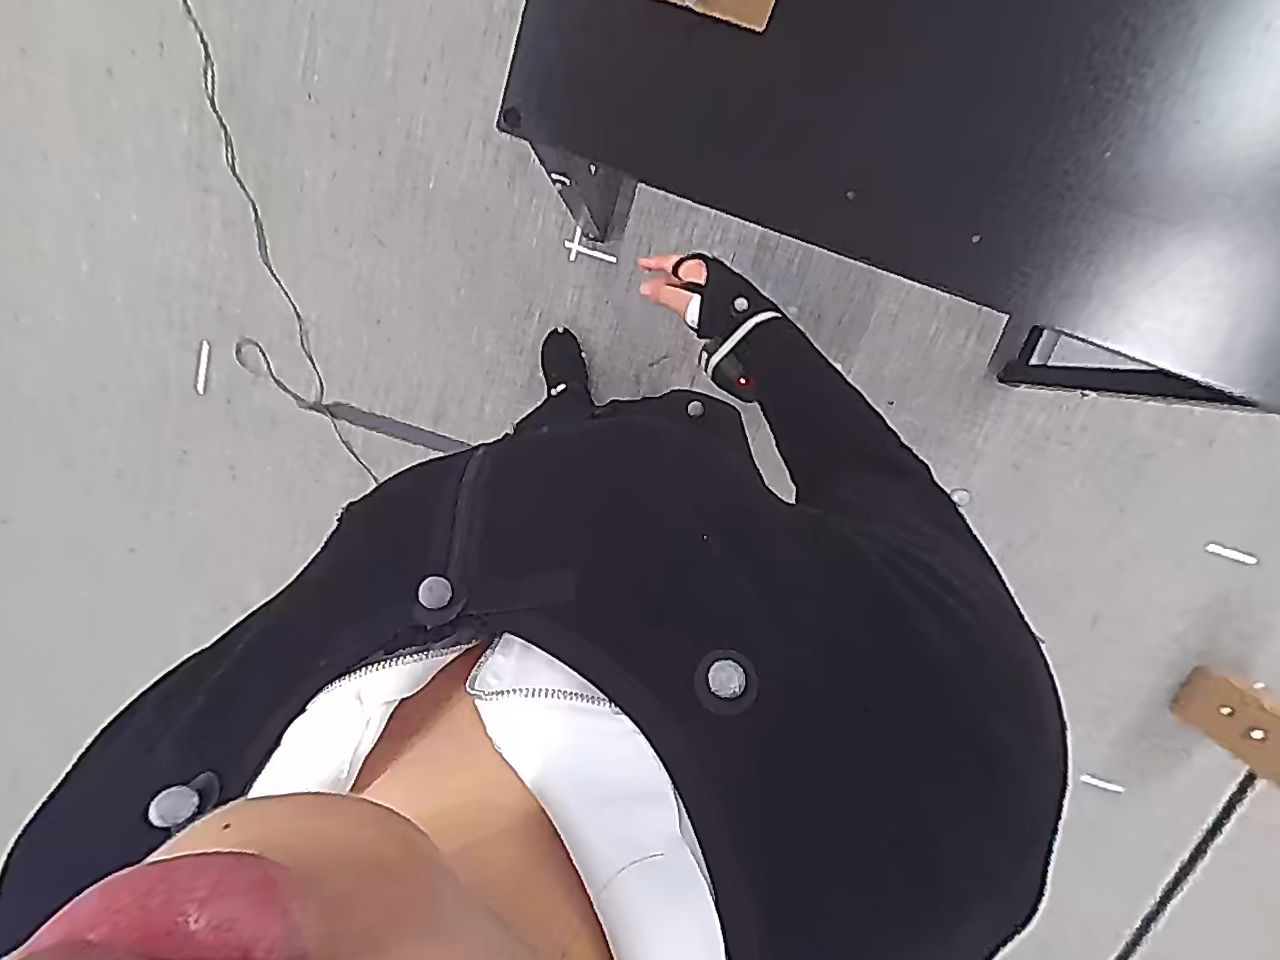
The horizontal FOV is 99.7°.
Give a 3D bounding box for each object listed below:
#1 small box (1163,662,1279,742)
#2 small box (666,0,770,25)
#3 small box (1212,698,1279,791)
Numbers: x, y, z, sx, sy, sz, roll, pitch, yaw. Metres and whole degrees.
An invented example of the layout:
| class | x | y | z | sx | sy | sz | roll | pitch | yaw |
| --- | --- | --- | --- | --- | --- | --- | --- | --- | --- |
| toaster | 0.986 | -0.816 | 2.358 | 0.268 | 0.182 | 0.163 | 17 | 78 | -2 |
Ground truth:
| class | x | y | z | sx | sy | sz | roll | pitch | yaw |
| --- | --- | --- | --- | --- | --- | --- | --- | --- | --- |
| small box | 1.690 | 0.659 | 1.562 | 0.168 | 0.176 | 0.179 | 18 | 104 | -3 |
| small box | 0.079 | -0.594 | 0.522 | 0.179 | 0.176 | 0.168 | 15 | 103 | -4 |
| small box | 1.680 | 0.699 | 1.403 | 0.179 | 0.176 | 0.168 | 18 | 103 | -3 |
